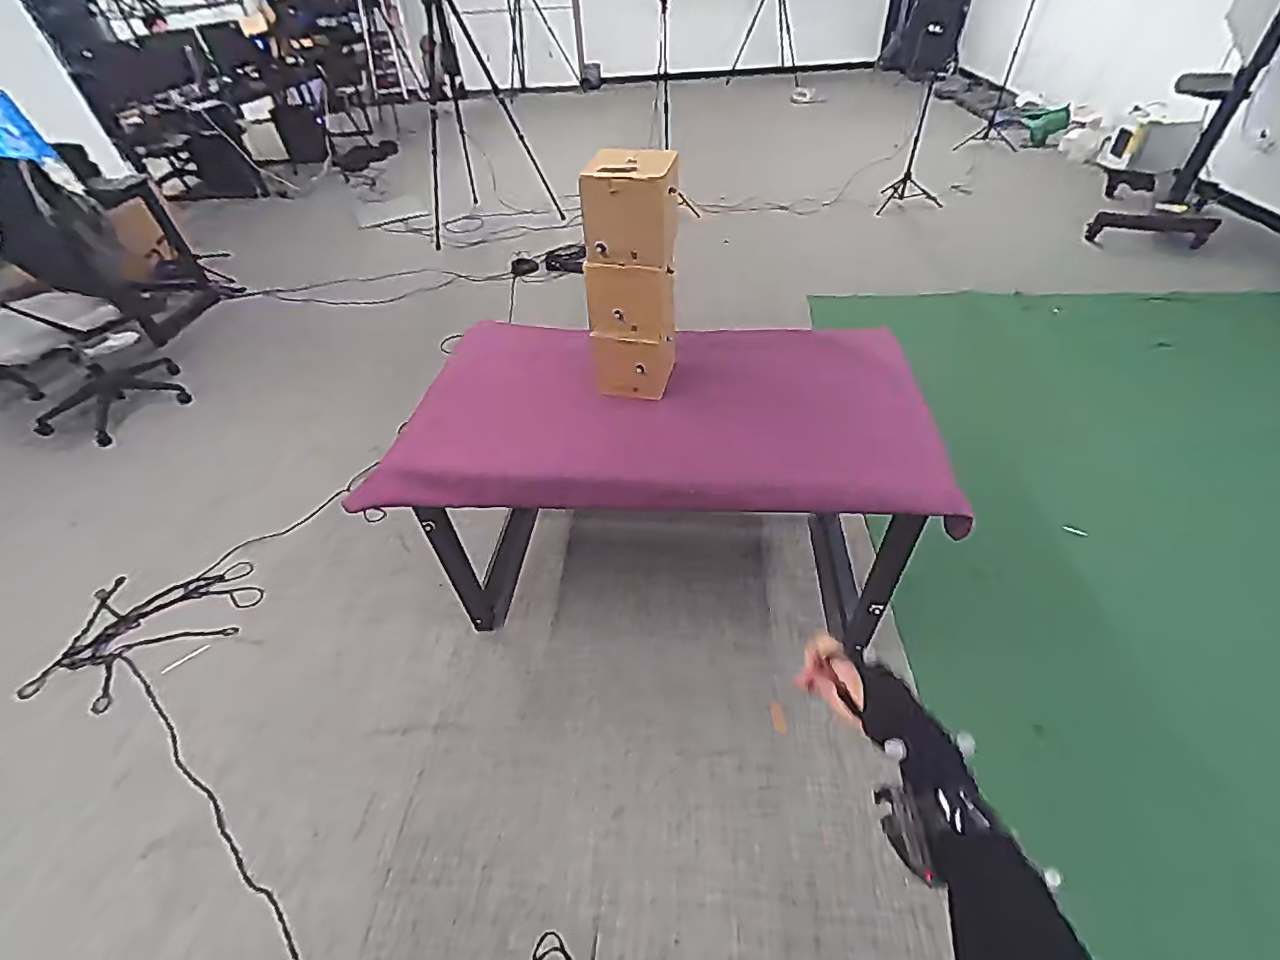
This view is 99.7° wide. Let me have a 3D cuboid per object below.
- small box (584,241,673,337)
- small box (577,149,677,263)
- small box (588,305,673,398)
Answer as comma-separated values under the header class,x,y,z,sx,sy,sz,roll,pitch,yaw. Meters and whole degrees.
class,x,y,z,sx,sy,sz,roll,pitch,yaw
small box,-0.021,-0.442,1.224,0.168,0.176,0.179,7,47,9
small box,-0.018,-0.562,1.111,0.168,0.176,0.179,8,46,10
small box,-0.014,-0.320,1.331,0.168,0.176,0.179,9,46,12
